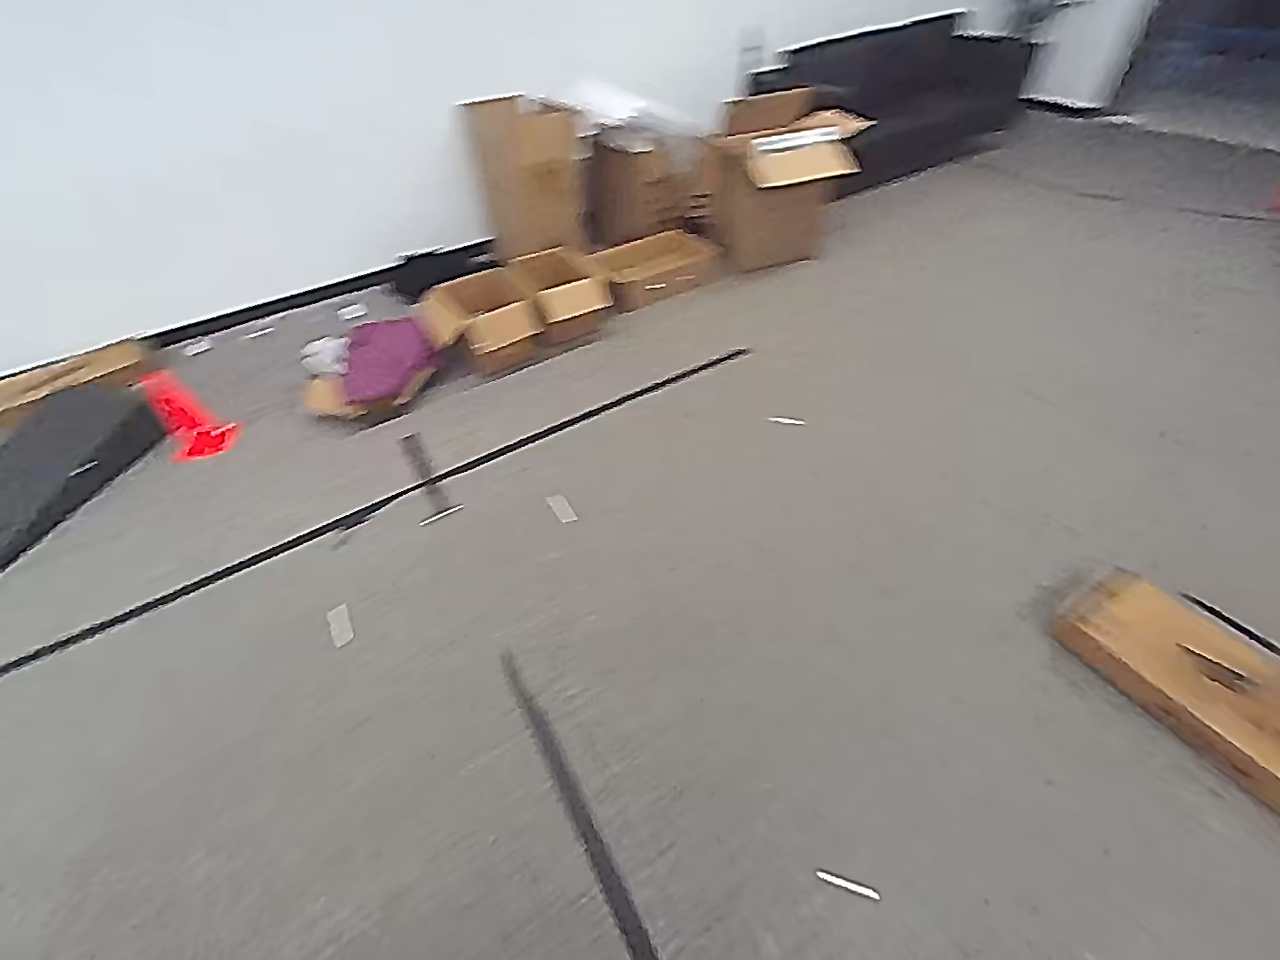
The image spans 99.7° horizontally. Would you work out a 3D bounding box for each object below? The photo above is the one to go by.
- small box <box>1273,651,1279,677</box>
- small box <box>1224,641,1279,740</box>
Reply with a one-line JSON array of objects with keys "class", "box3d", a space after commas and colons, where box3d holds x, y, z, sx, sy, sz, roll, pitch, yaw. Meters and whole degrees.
[{"class": "small box", "box3d": [1.518, 0.376, 1.140, 0.179, 0.176, 0.168, -30, 50, -24]}, {"class": "small box", "box3d": [1.530, 0.495, 1.251, 0.179, 0.176, 0.168, -28, 51, -22]}]
